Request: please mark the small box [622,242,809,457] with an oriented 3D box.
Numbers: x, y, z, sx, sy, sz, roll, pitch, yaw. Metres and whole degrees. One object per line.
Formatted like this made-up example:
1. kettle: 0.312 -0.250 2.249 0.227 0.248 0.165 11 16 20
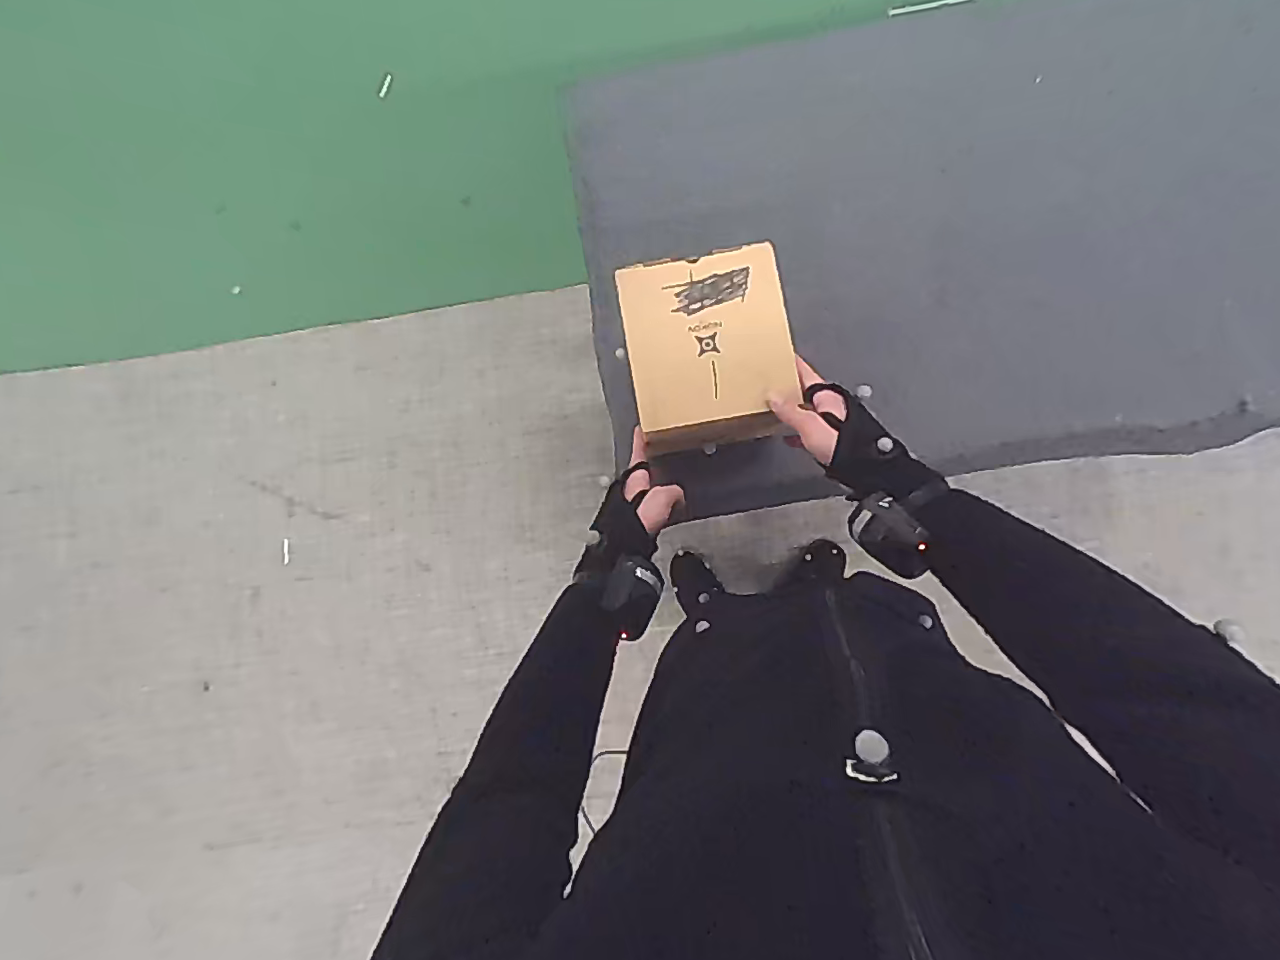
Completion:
1. small box: 0.076 -0.135 0.617 0.168 0.176 0.179 -10 83 2
